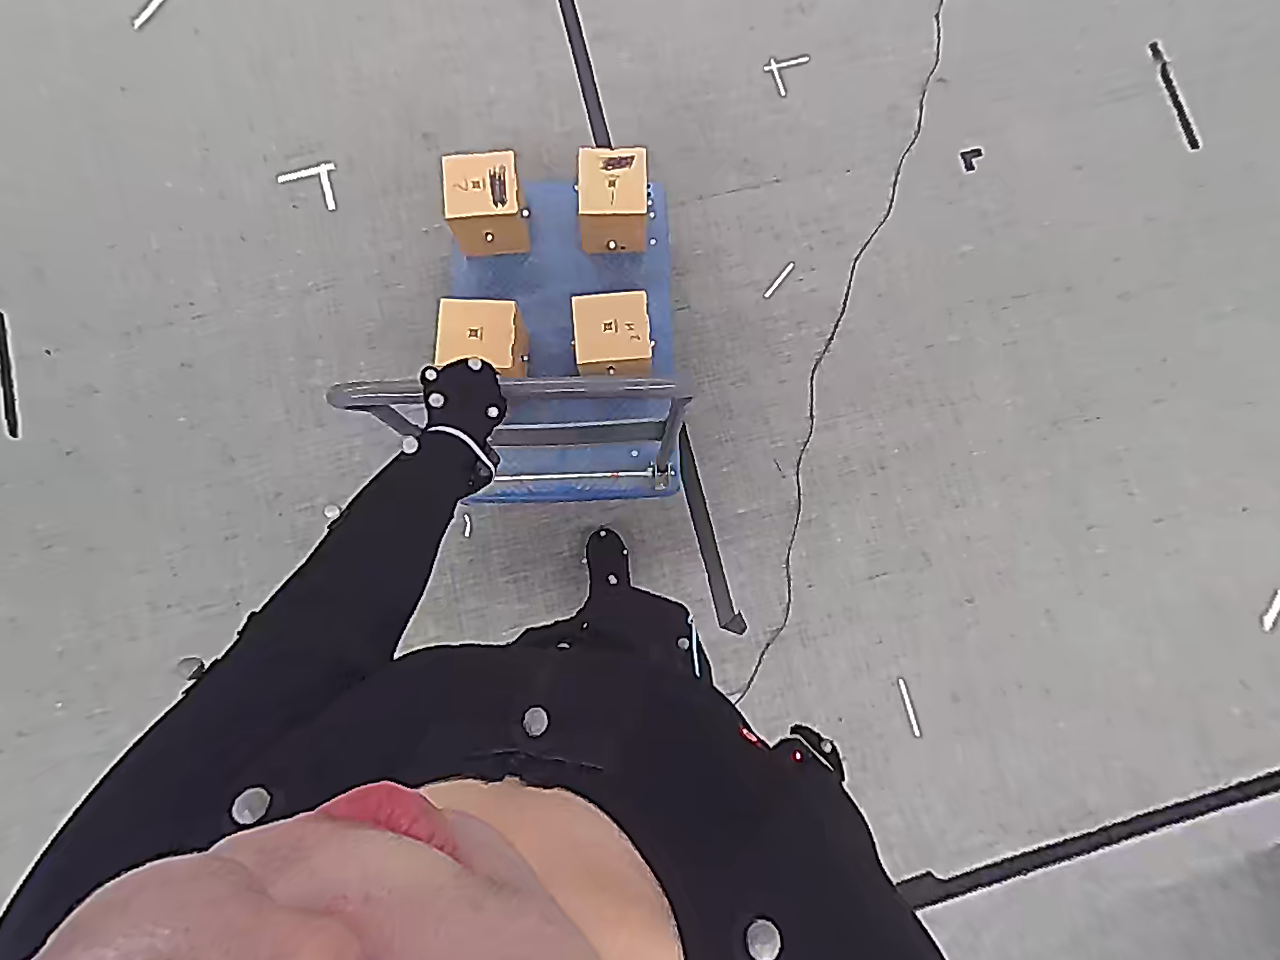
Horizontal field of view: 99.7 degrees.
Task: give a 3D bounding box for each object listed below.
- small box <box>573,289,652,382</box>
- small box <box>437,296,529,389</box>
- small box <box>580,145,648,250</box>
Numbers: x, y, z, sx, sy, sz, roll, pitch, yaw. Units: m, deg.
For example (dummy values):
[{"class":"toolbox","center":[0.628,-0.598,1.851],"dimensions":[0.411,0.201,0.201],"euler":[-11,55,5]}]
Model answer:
[{"class":"small box","center":[-0.063,-0.344,1.317],"dimensions":[0.179,0.176,0.168],"euler":[-5,82,-1]},{"class":"small box","center":[-0.373,-0.326,1.309],"dimensions":[0.179,0.176,0.168],"euler":[1,81,-3]},{"class":"small box","center":[-0.065,-0.711,1.372],"dimensions":[0.168,0.176,0.179],"euler":[-1,83,-1]}]
